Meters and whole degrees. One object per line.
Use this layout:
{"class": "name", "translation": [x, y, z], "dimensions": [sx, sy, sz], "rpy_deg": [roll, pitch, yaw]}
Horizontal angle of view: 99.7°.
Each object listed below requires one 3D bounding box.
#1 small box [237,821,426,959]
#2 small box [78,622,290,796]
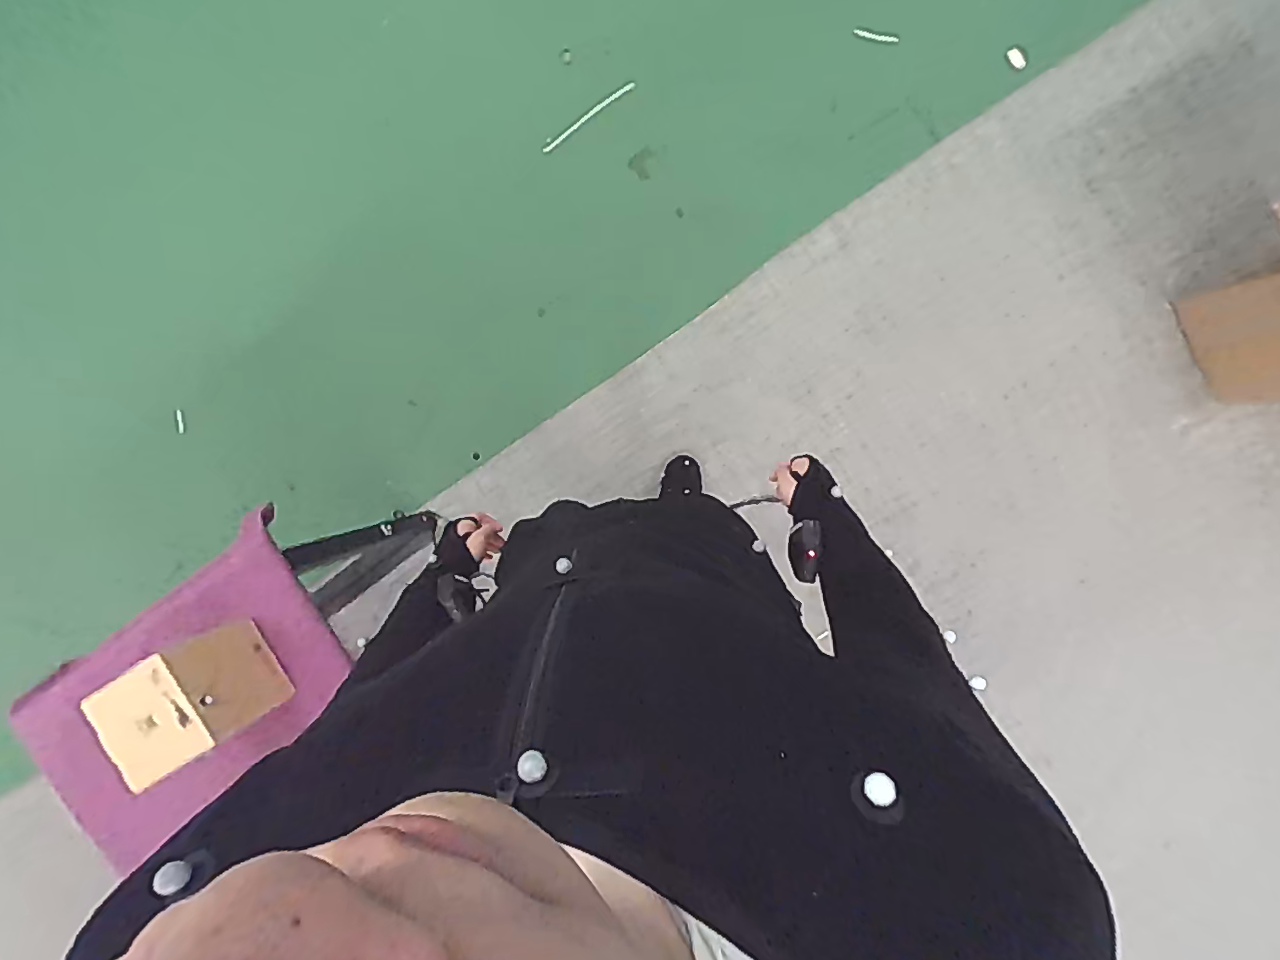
{"class": "small box", "translation": [-0.500, 0.725, 0.902], "dimensions": [0.179, 0.176, 0.168], "rpy_deg": [-33, 91, 7]}
{"class": "small box", "translation": [-0.738, 0.367, 0.894], "dimensions": [0.179, 0.176, 0.168], "rpy_deg": [-31, 92, 9]}
